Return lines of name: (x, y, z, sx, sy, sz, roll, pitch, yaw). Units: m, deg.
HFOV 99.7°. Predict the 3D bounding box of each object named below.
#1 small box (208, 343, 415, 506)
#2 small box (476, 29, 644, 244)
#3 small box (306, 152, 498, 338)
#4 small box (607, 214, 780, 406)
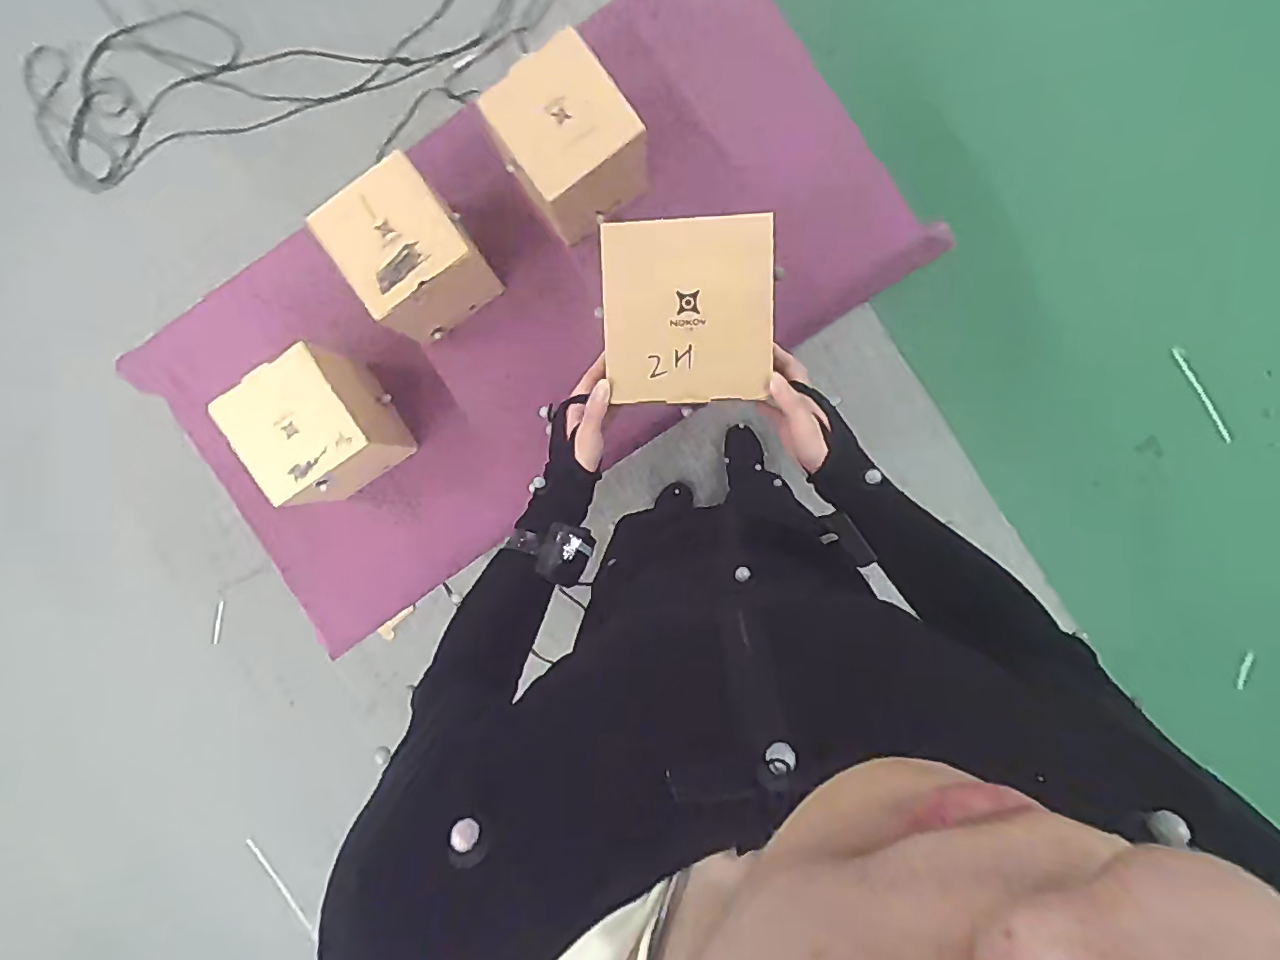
small box: (-0.488, -0.078, 0.830, 0.168, 0.176, 0.179, -33, 90, 4)
small box: (-0.109, -0.495, 0.810, 0.168, 0.176, 0.179, -35, 91, 3)
small box: (-0.344, -0.336, 0.821, 0.168, 0.176, 0.179, -35, 89, 2)
small box: (0.056, -0.173, 0.600, 0.168, 0.176, 0.179, 1, 97, 6)
